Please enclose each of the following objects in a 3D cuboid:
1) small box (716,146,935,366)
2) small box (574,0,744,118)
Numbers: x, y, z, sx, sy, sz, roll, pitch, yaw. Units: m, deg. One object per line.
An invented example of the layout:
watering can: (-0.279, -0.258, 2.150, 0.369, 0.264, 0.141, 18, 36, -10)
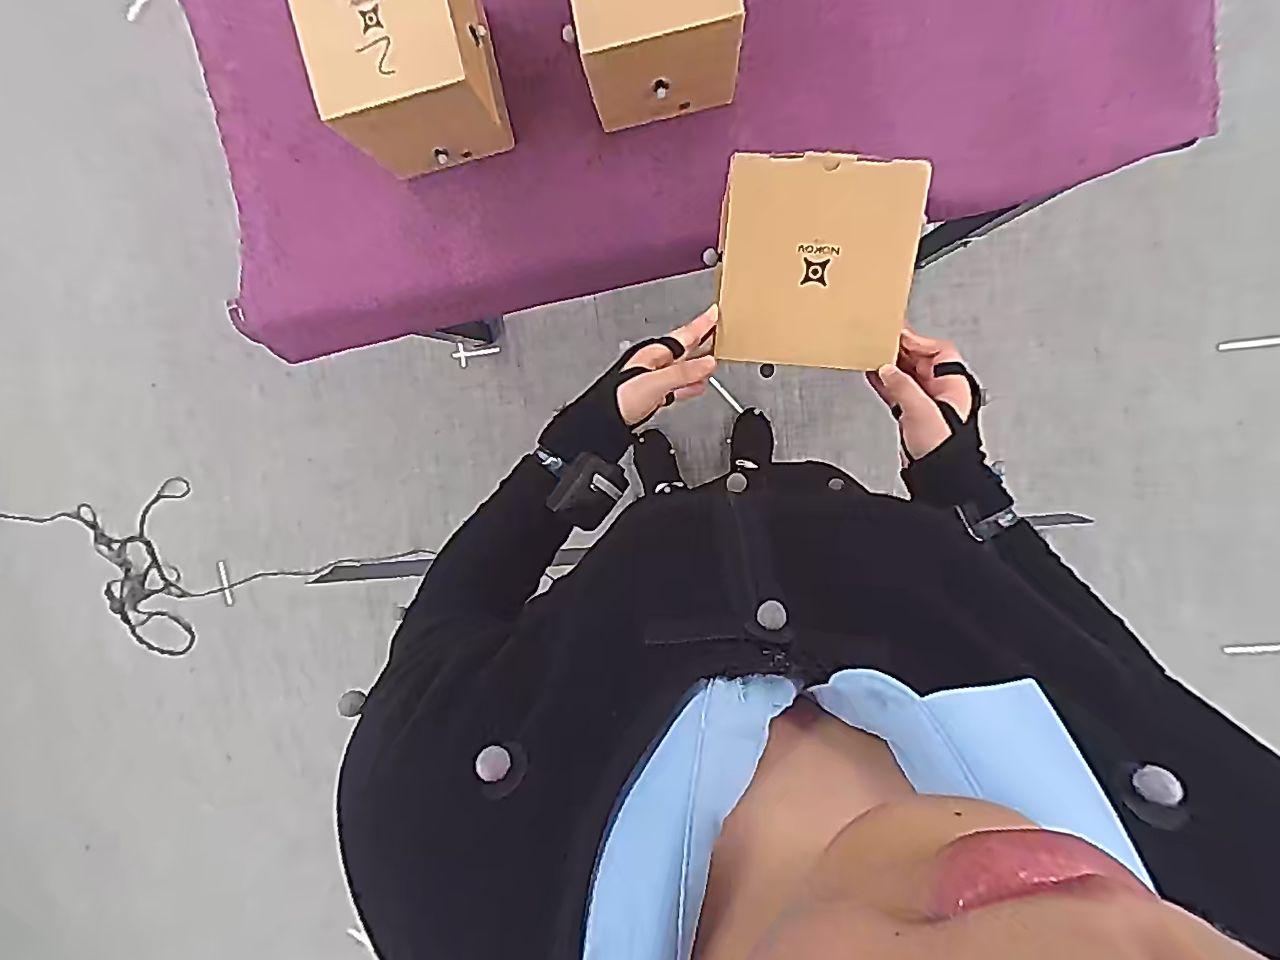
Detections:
small box: (0.168, -0.214, 0.555, 0.168, 0.176, 0.179, 5, 104, 5)
small box: (0.016, -0.535, 0.596, 0.168, 0.176, 0.179, -9, 98, 6)
